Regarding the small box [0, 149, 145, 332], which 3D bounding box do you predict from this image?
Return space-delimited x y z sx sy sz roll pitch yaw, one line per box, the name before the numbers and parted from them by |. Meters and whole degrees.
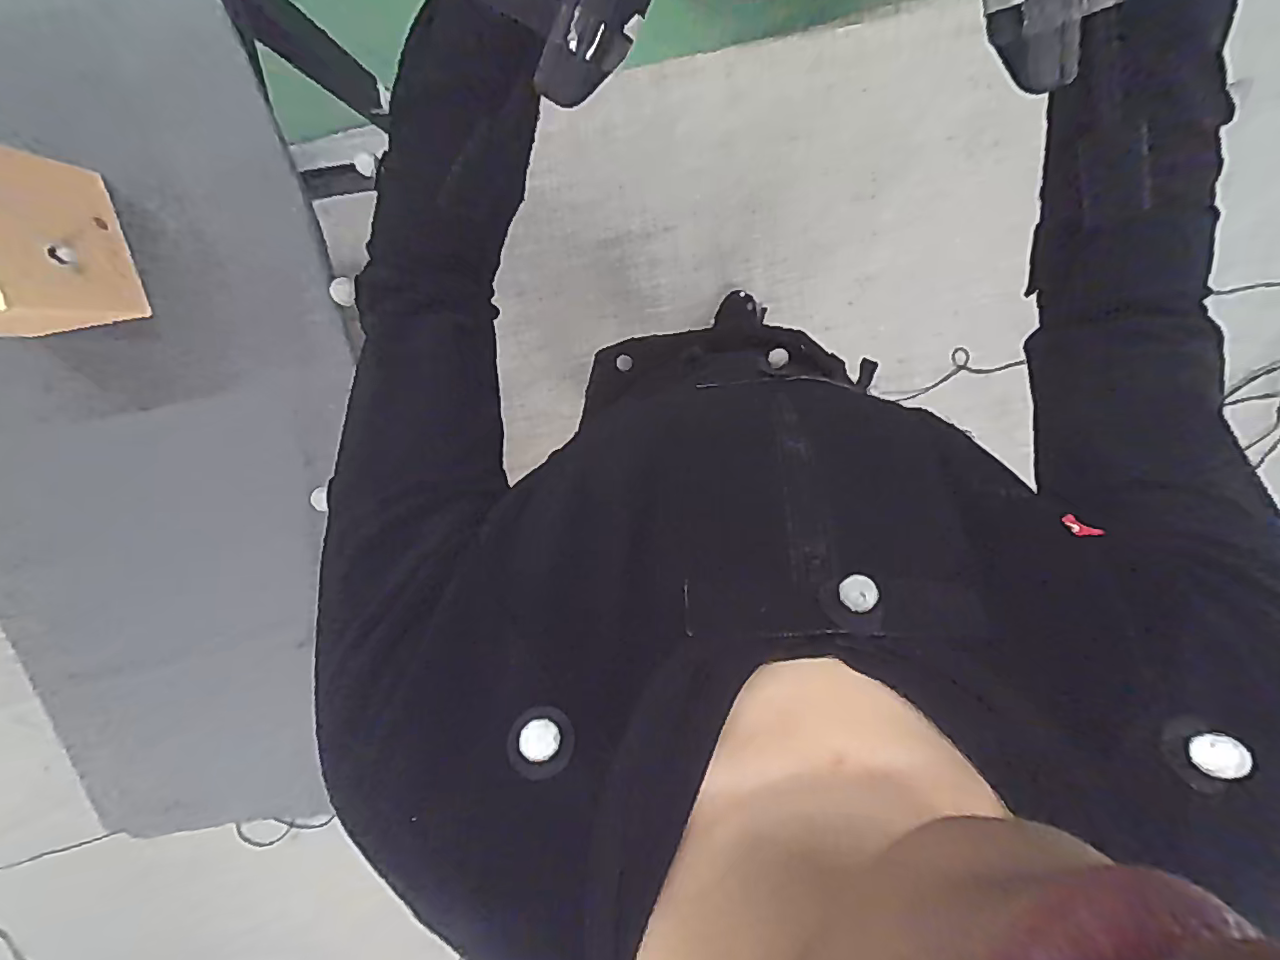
small box | -0.710 -0.258 0.598 0.179 0.176 0.168 -8 105 5
